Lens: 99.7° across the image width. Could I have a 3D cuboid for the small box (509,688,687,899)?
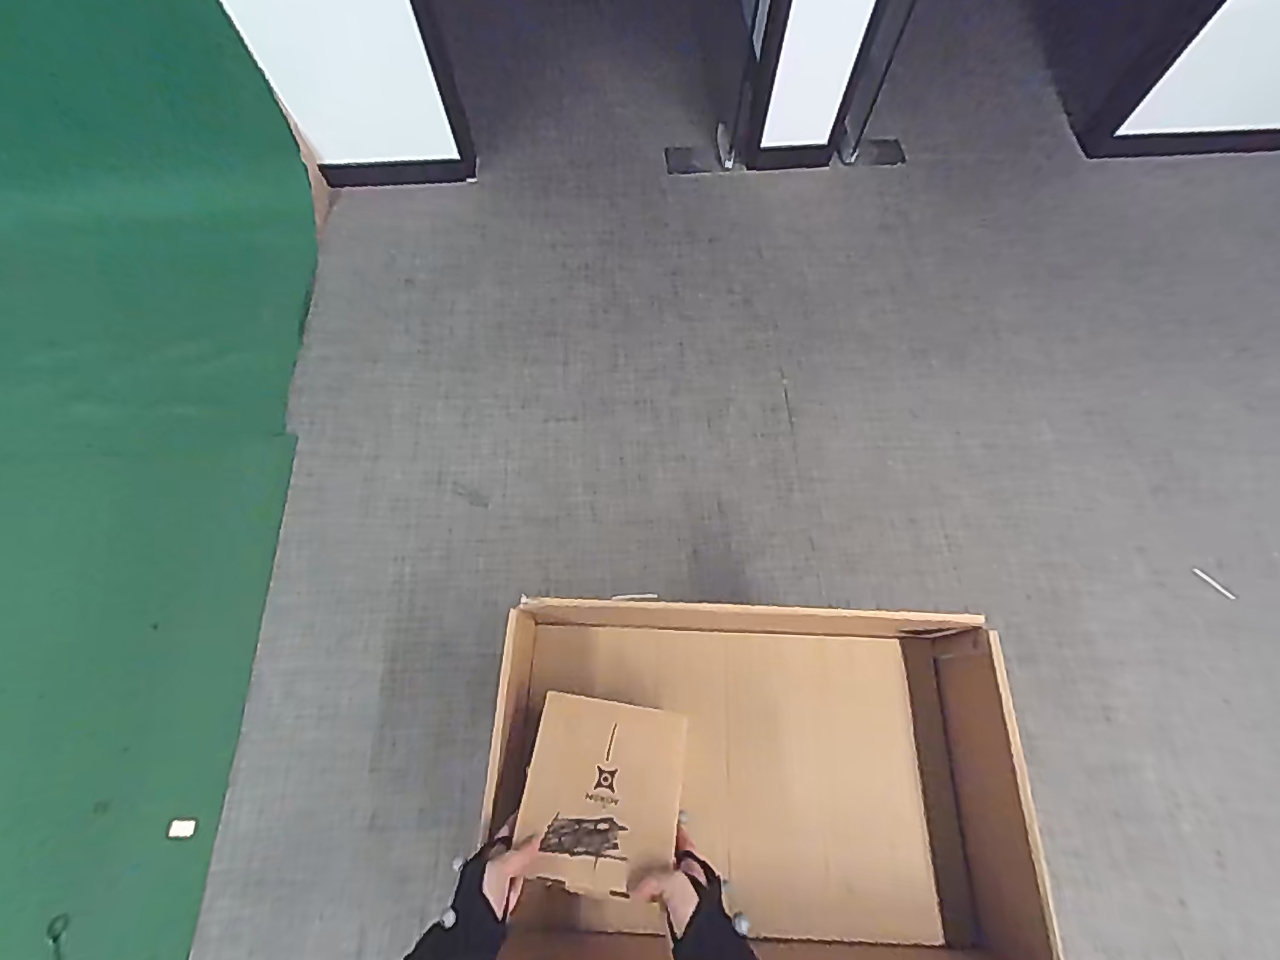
[{"bbox_3d":[-0.041,0.367,0.644,0.168,0.176,0.179,8,58,3],"label":"small box"}]
